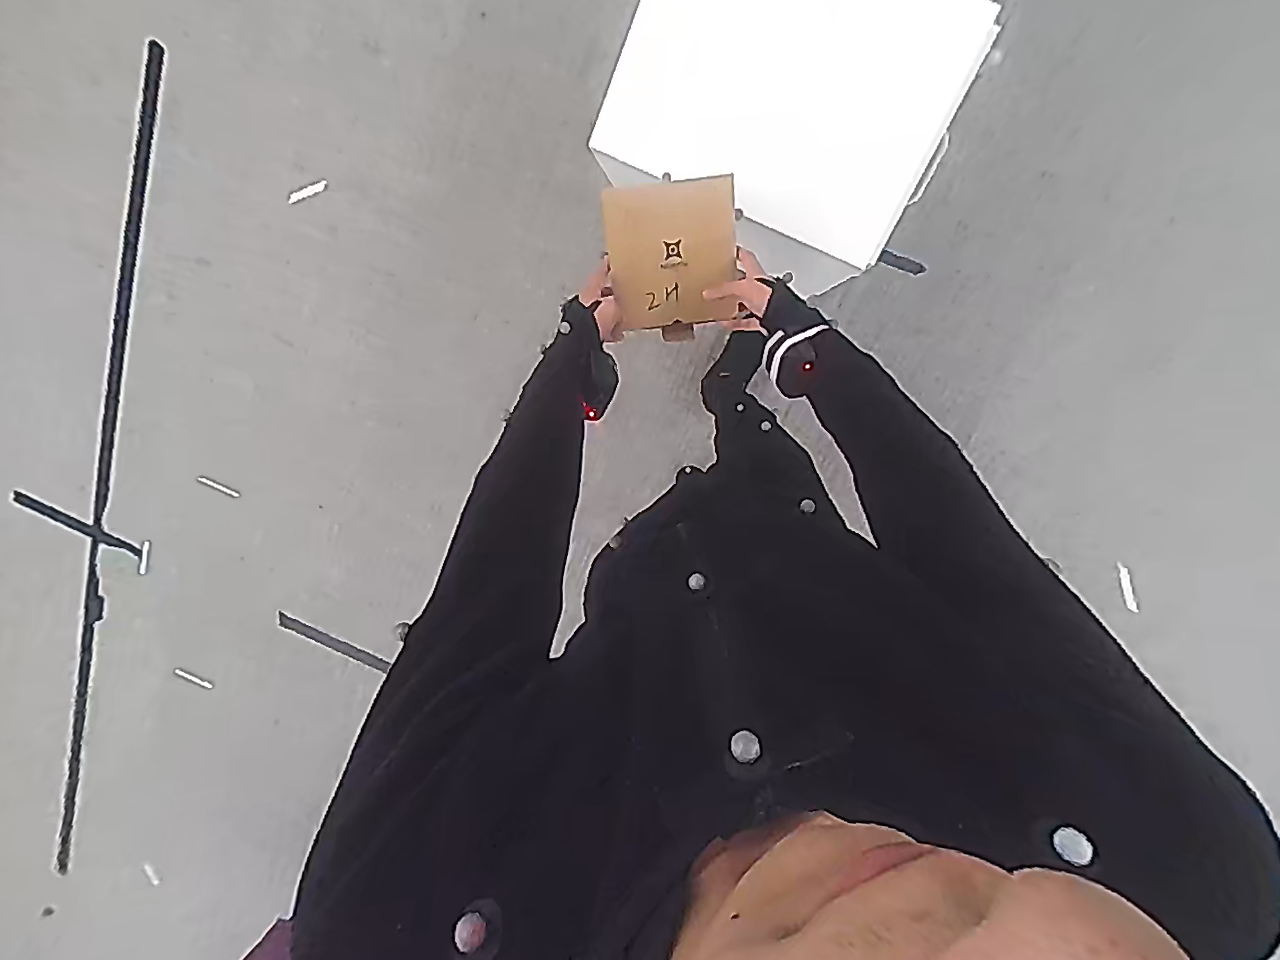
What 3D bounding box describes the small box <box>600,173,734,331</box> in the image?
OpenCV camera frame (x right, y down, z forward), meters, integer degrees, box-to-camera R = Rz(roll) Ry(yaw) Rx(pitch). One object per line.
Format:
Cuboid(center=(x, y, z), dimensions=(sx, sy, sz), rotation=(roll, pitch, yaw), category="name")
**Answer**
Cuboid(center=(0.036, -0.318, 0.761), dimensions=(0.168, 0.176, 0.179), rotation=(-5, 116, 2), category="small box")
